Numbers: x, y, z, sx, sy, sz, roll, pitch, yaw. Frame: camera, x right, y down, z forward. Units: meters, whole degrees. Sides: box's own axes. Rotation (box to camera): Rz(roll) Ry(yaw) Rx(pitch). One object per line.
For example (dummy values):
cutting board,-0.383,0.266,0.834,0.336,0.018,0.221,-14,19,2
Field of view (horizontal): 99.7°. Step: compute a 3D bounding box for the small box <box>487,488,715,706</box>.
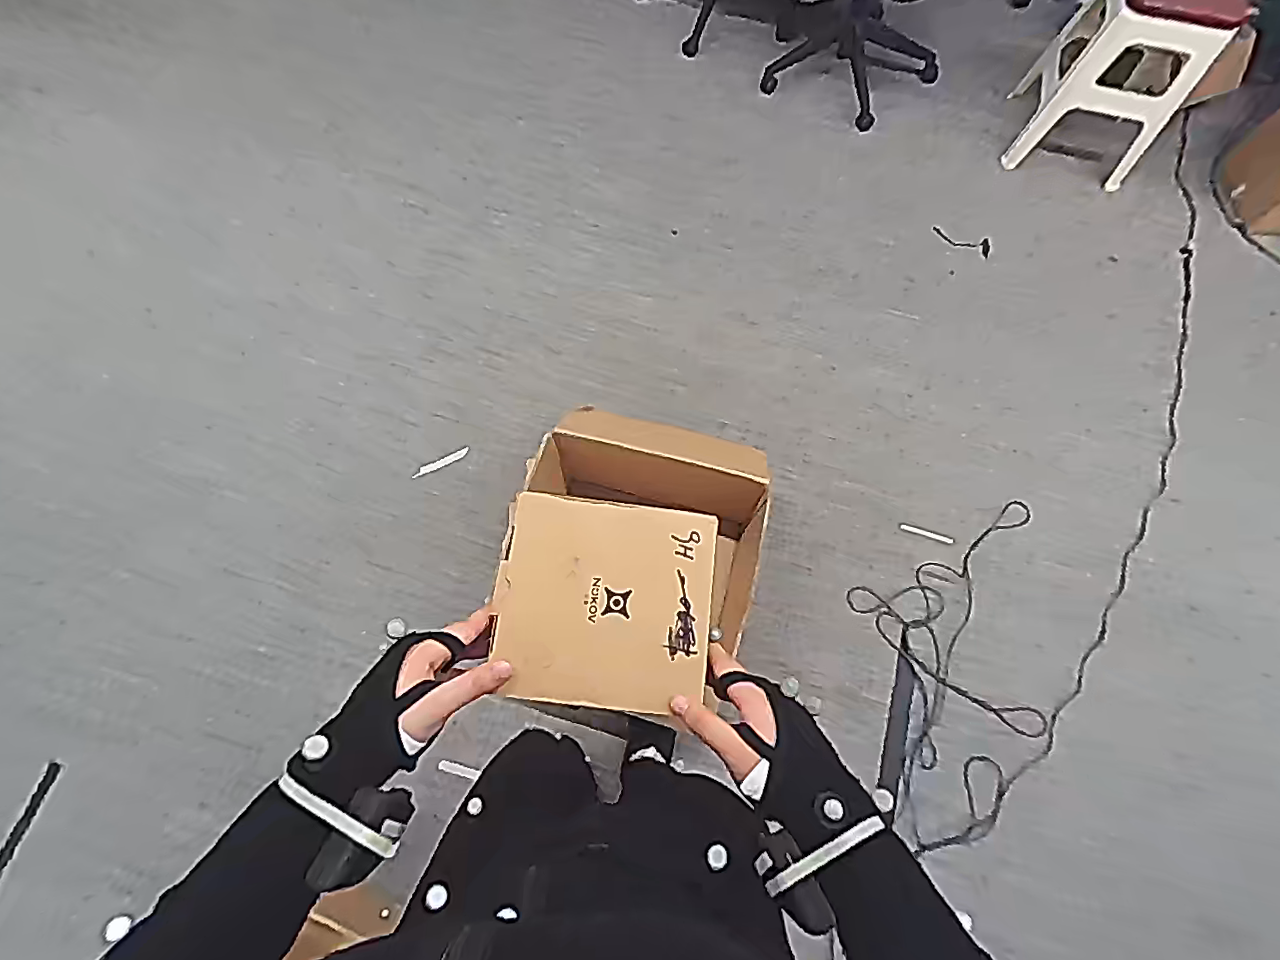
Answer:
small box,-0.033,0.116,0.531,0.179,0.176,0.168,7,74,-2
